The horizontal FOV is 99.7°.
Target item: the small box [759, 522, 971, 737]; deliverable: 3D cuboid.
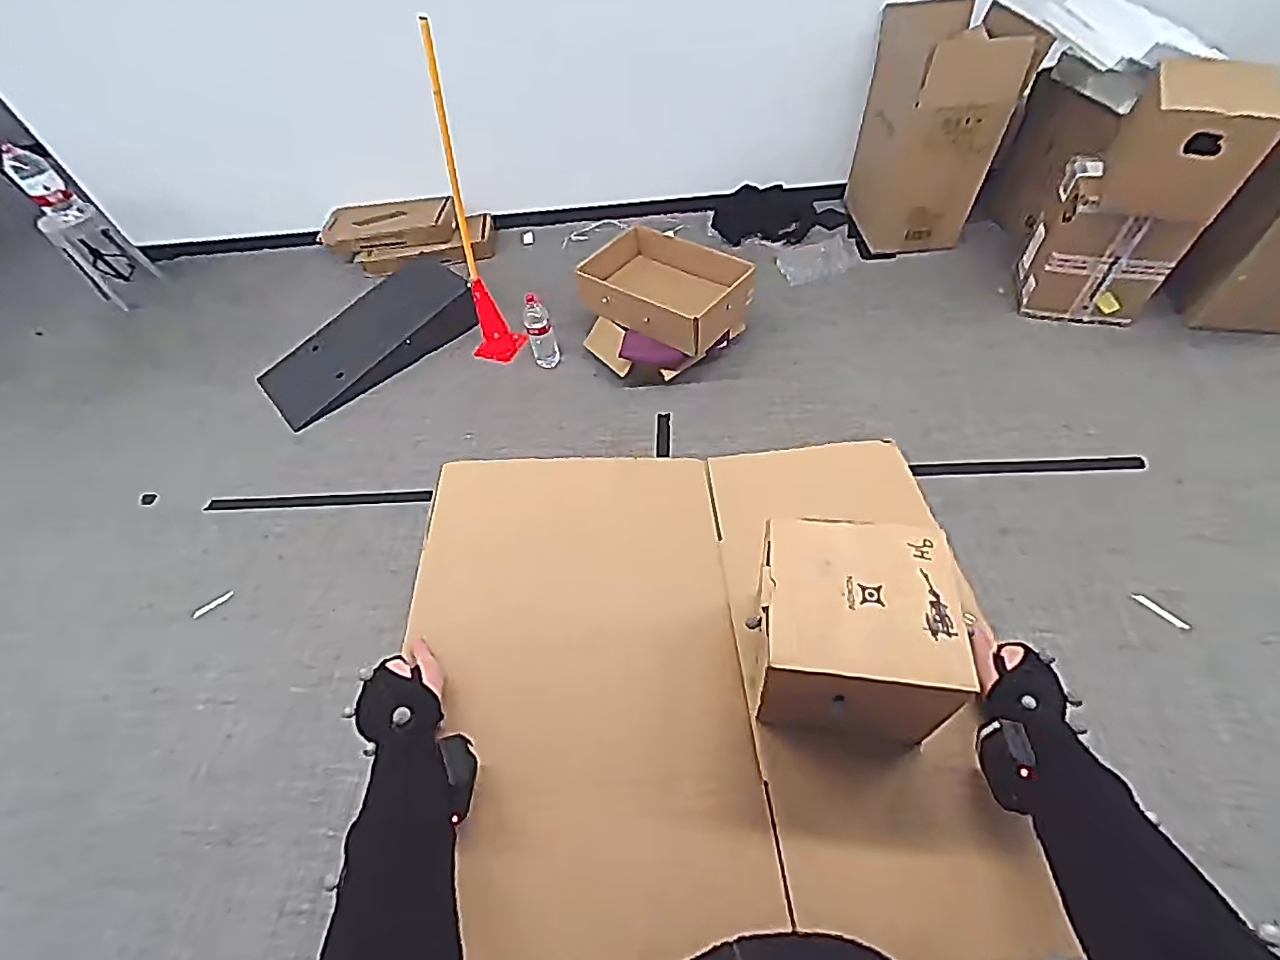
[{"bbox_3d":[0.221,0.163,0.583,0.179,0.176,0.168,3,52,11],"label":"small box"}]
